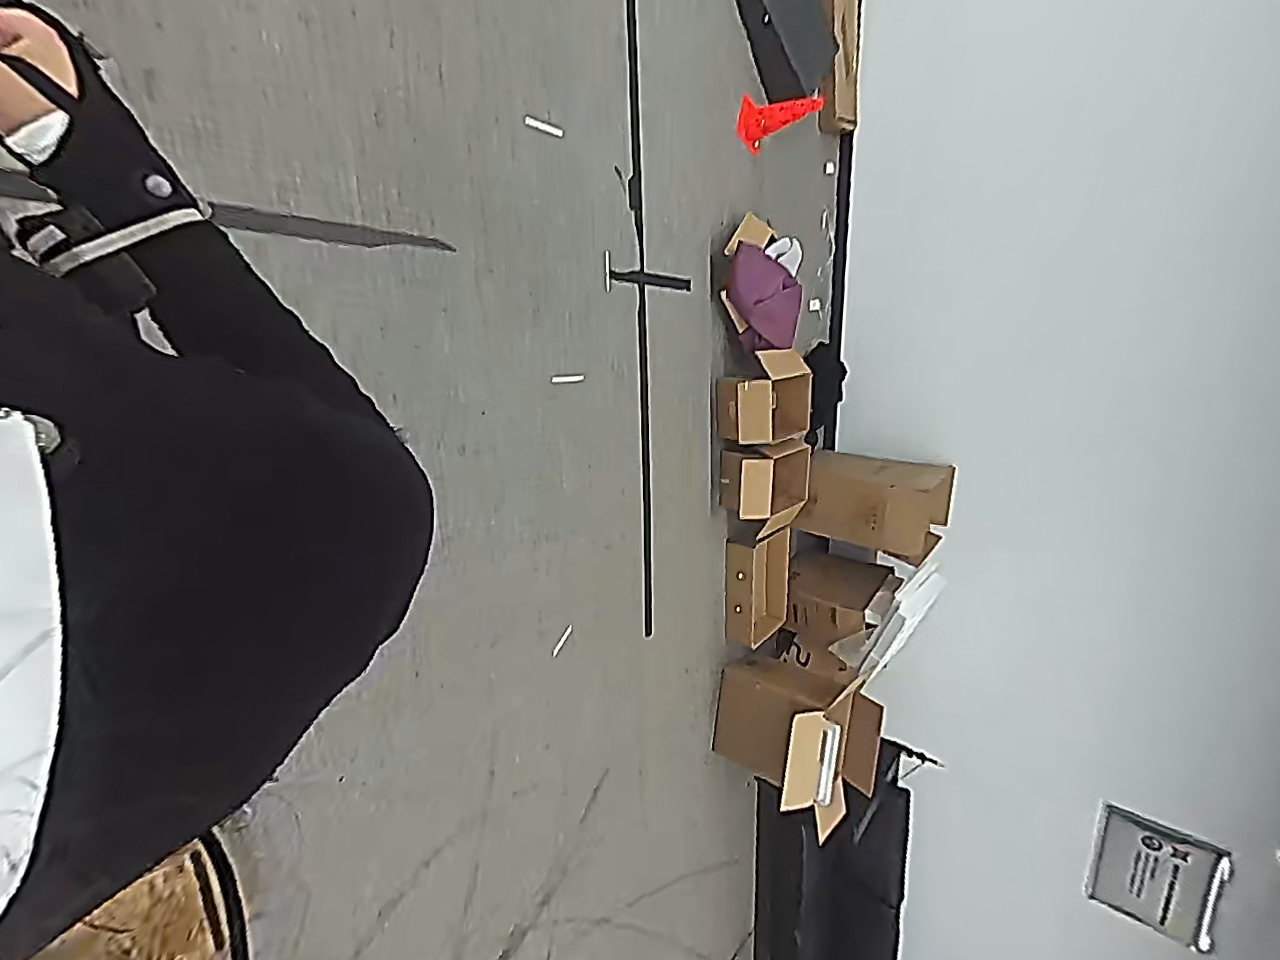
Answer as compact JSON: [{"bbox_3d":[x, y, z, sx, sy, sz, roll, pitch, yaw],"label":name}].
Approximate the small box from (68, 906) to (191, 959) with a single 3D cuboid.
[{"bbox_3d":[-1.021,1.016,1.091,0.168,0.176,0.179,-14,108,-47],"label":"small box"}]
